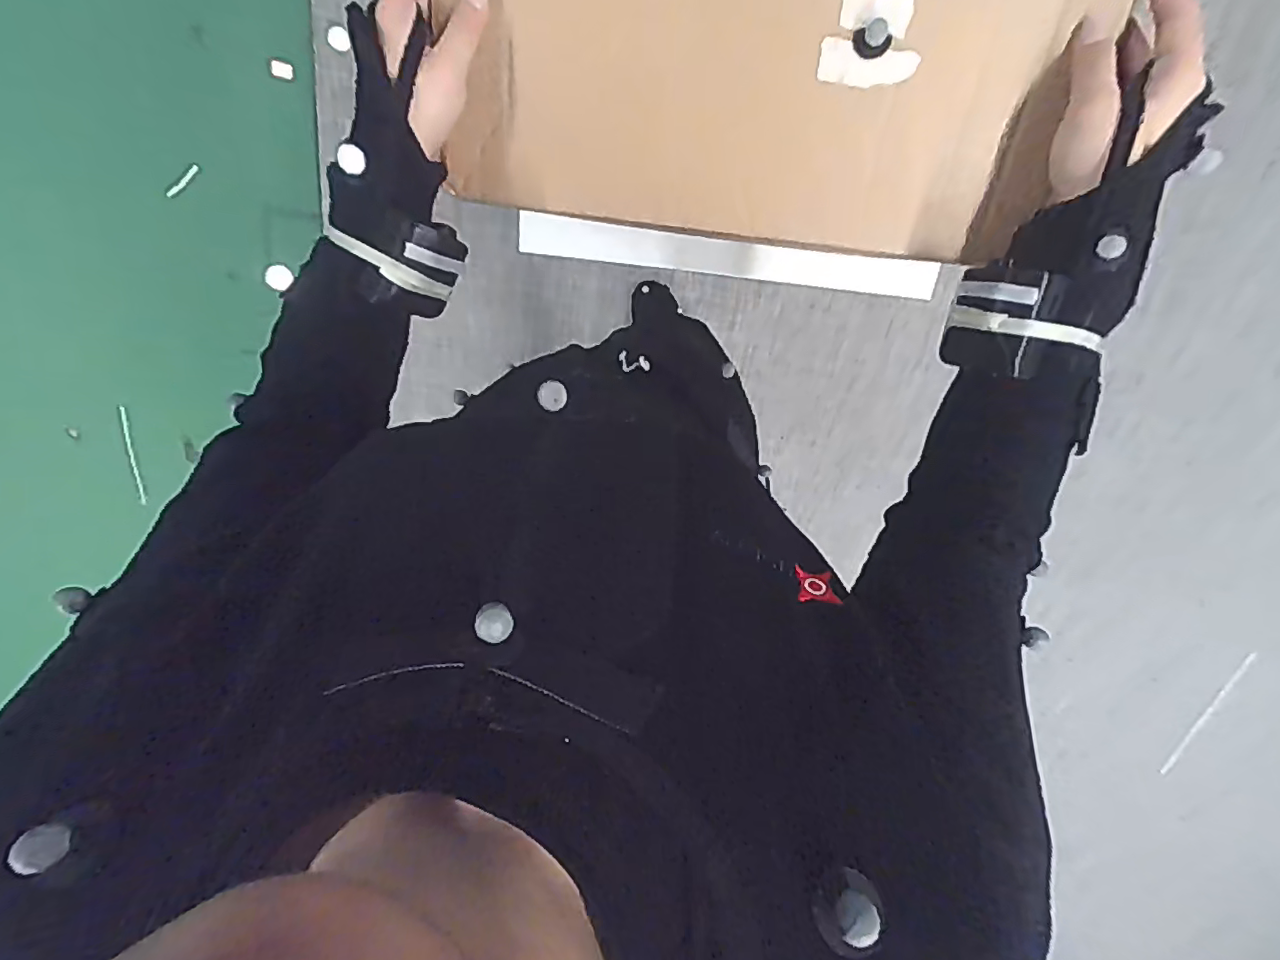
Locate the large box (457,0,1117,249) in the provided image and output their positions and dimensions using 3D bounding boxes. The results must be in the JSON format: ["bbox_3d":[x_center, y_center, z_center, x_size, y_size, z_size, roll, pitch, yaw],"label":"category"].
[{"bbox_3d":[0.096,-0.380,0.452,0.408,0.320,0.320,8,115,2],"label":"large box"}]
